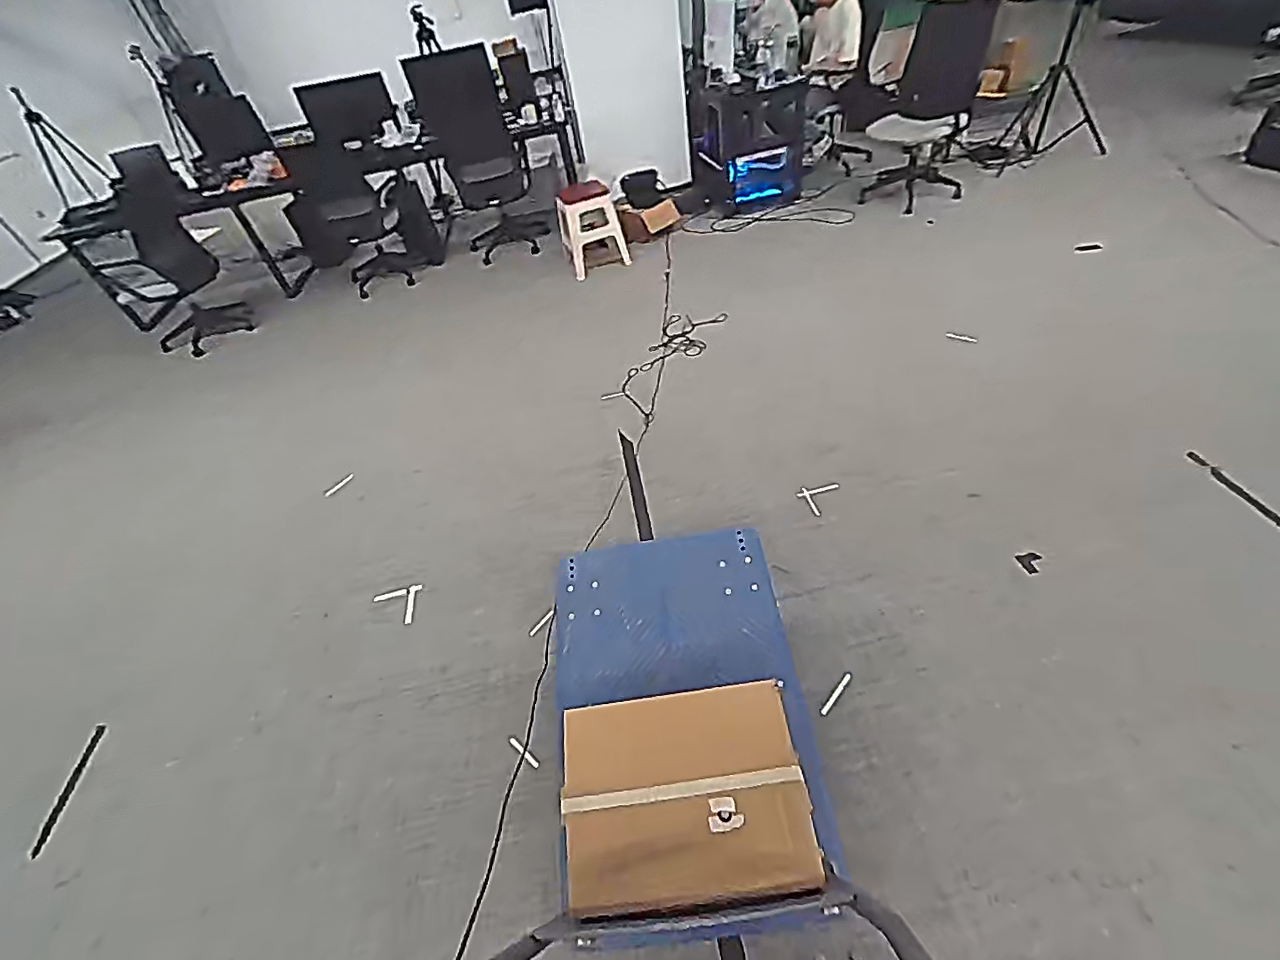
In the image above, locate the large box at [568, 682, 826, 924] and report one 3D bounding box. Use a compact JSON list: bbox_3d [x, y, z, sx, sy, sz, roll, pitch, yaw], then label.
[{"bbox_3d":[0.096,0.624,1.051,0.408,0.320,0.320,-10,54,2],"label":"large box"}]
